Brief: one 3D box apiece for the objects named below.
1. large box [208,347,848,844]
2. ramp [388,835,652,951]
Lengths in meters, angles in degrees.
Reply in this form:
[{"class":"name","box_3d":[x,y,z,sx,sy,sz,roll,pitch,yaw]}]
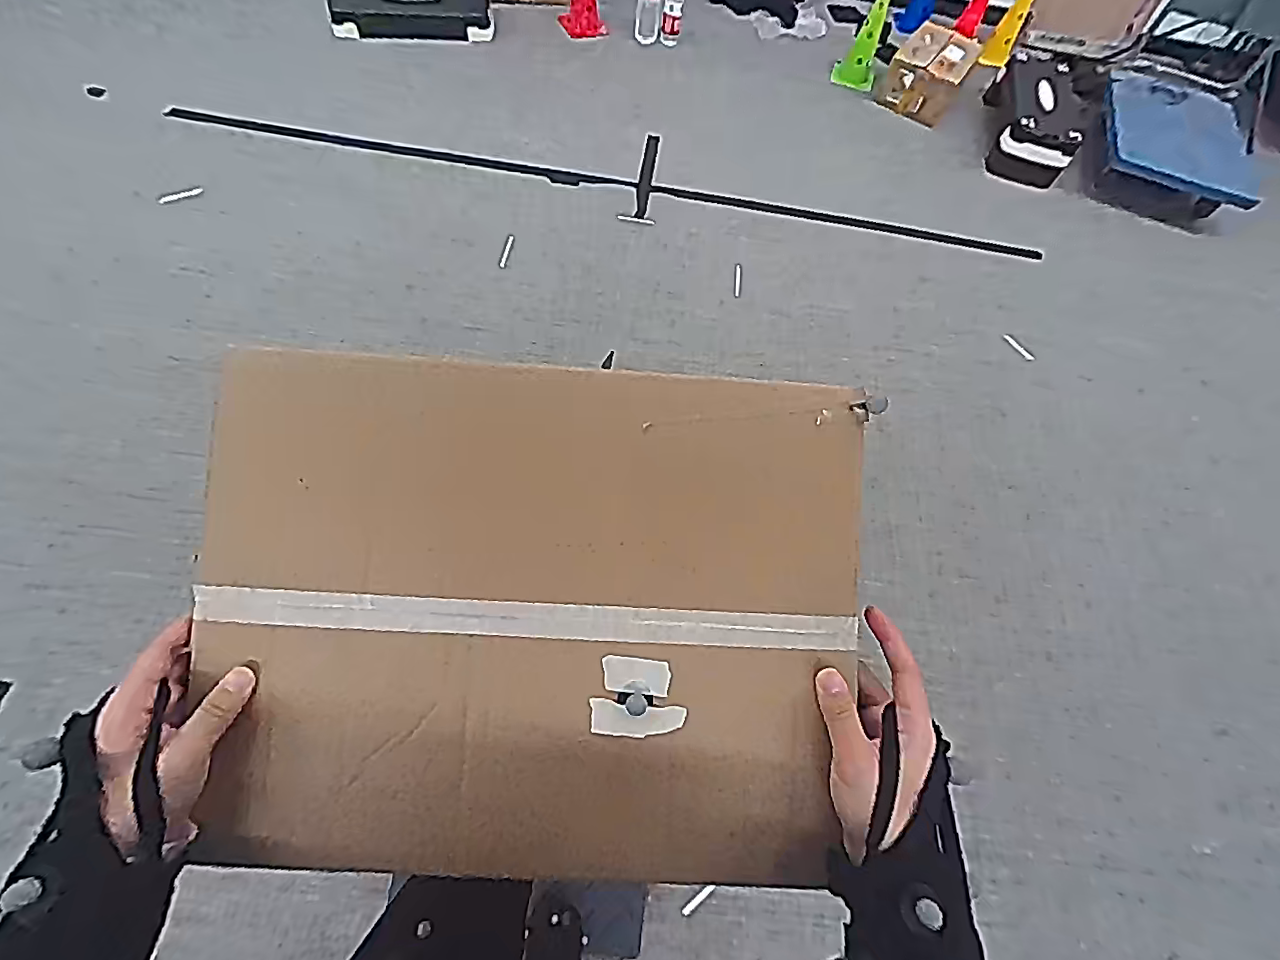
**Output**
[{"class":"large box","box_3d":[-0.071,0.083,0.498,0.408,0.320,0.320,3,88,-2]},{"class":"ramp","box_3d":[-0.174,0.403,1.176,0.509,0.206,0.991,8,63,-4]}]
